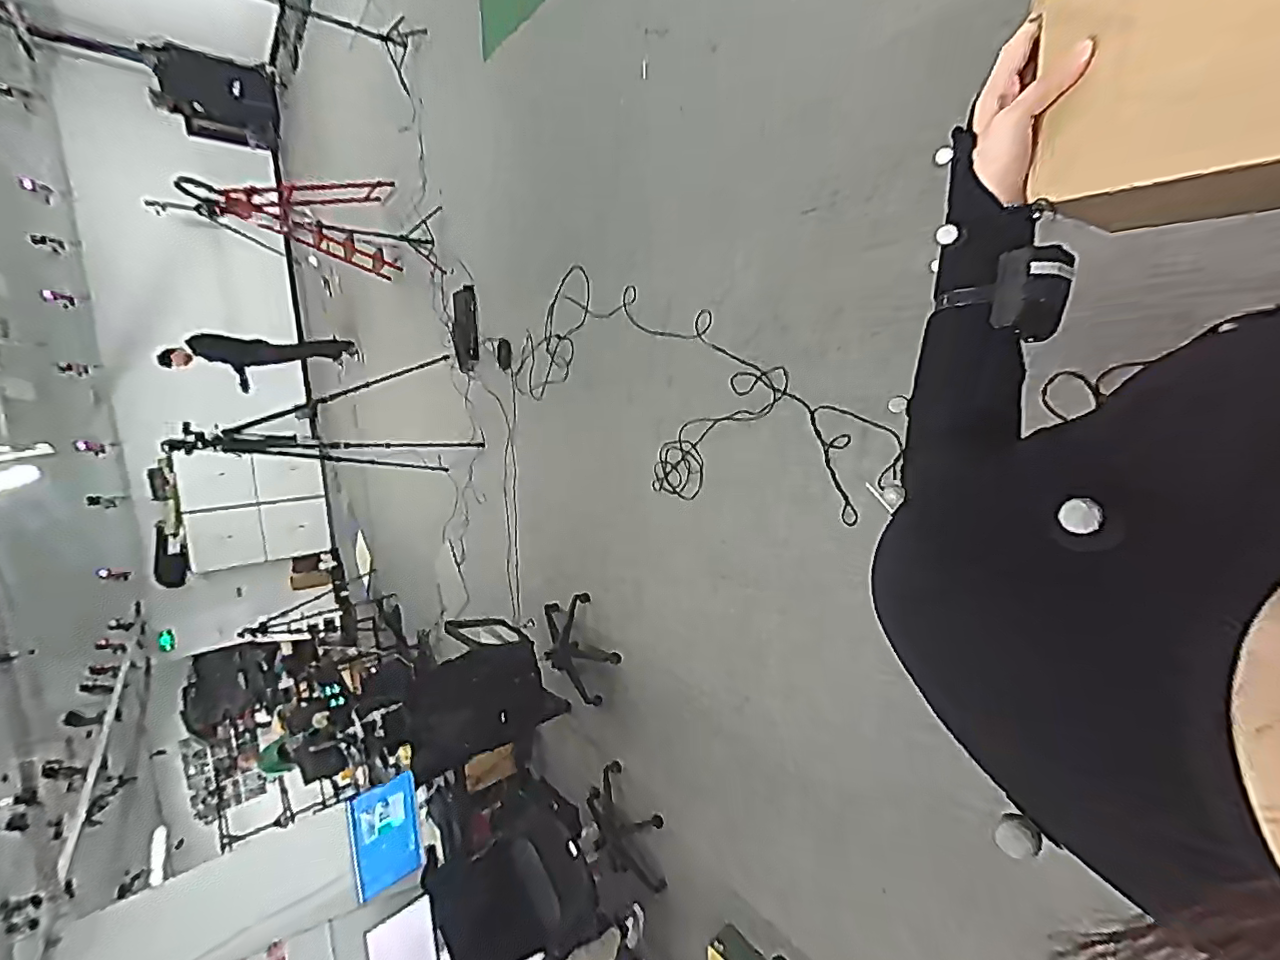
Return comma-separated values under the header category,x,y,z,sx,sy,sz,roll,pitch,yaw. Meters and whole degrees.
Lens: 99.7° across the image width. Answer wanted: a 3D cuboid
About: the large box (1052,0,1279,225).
category,x,y,z,sx,sy,sz,roll,pitch,yaw
large box,0.542,-0.374,0.330,0.408,0.320,0.320,11,112,46
